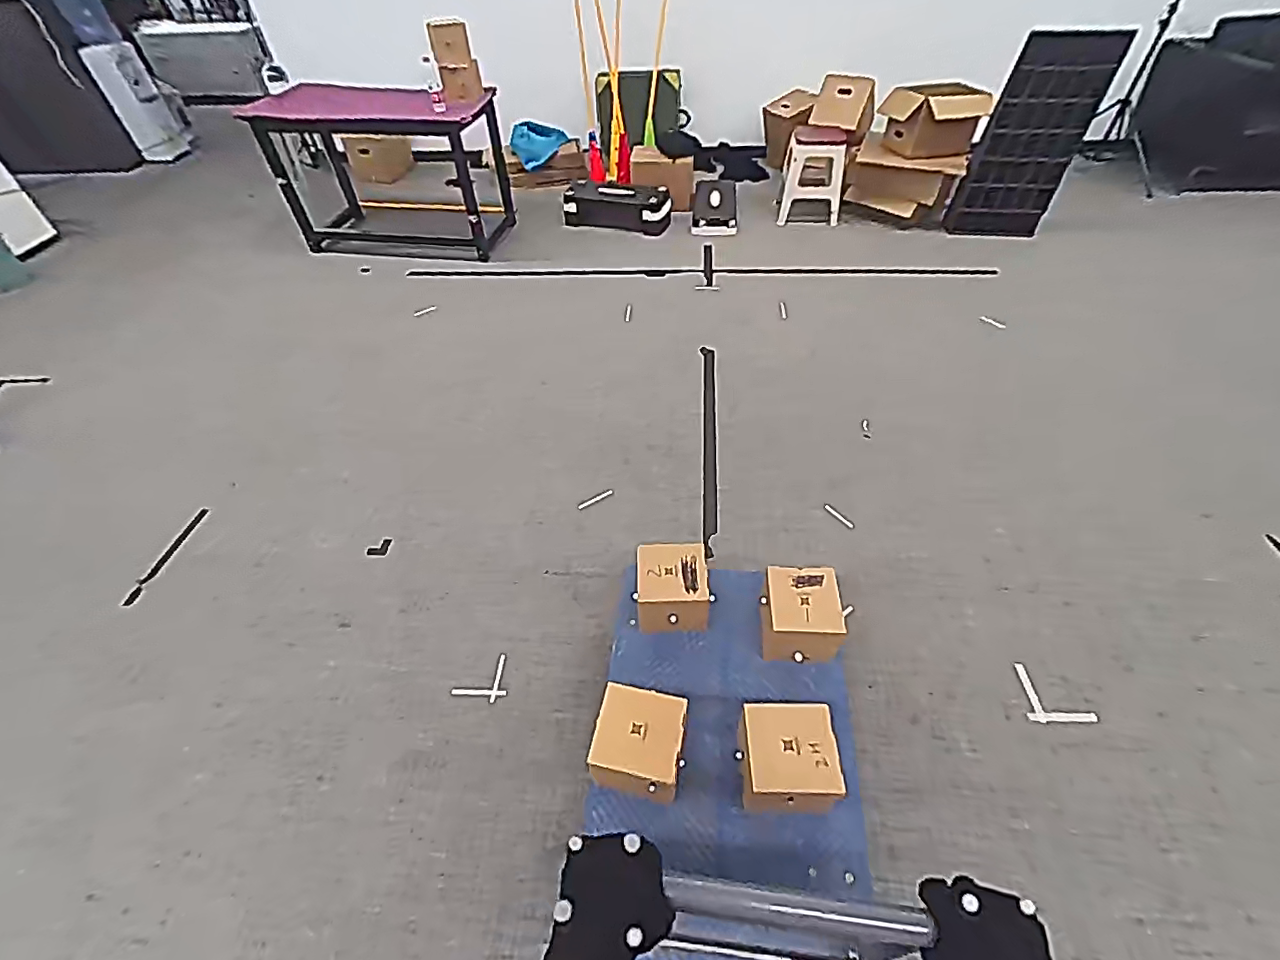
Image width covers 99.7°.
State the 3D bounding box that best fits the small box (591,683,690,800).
[{"bbox_3d":[0.005,0.566,1.164,0.179,0.176,0.168,9,48,9],"label":"small box"}]

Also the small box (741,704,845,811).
[{"bbox_3d":[0.307,0.583,1.133,0.179,0.176,0.168,-1,48,2],"label":"small box"}]

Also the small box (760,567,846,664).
[{"bbox_3d":[0.397,0.338,1.351,0.168,0.176,0.179,1,49,4],"label":"small box"}]
